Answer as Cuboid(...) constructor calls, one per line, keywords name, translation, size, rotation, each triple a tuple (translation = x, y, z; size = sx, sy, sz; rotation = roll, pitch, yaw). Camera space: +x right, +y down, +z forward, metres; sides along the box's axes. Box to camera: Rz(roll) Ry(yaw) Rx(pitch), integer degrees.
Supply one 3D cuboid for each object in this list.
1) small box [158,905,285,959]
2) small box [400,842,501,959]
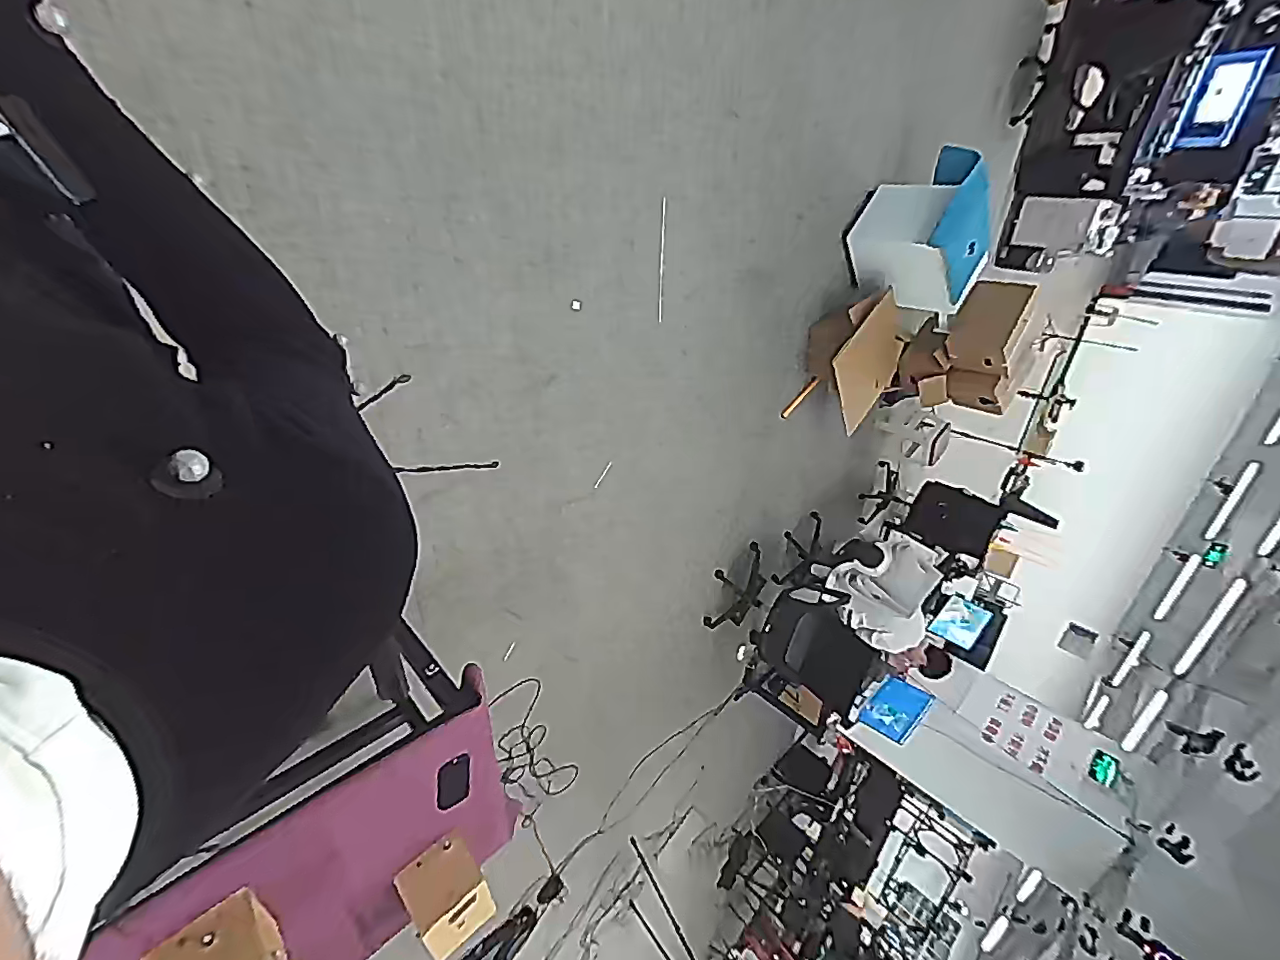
Cuboid(name="small box", translation=(-0.750, 0.929, 0.977), size=(0.168, 0.176, 0.179), rotation=(-26, 129, -36))
Cuboid(name="small box", translation=(-0.473, 1.056, 1.350), size=(0.168, 0.176, 0.179), rotation=(-28, 130, -35))
